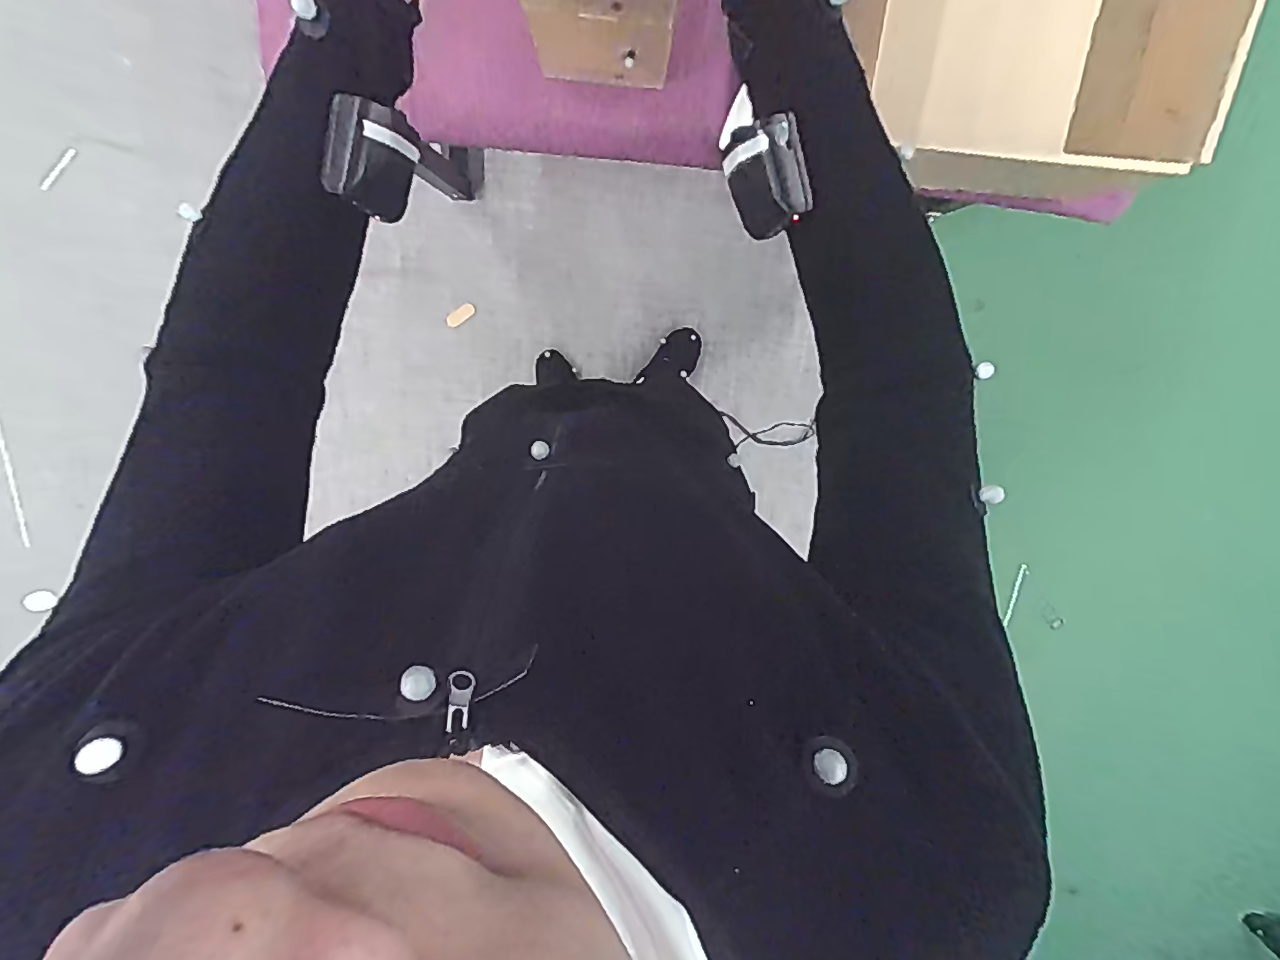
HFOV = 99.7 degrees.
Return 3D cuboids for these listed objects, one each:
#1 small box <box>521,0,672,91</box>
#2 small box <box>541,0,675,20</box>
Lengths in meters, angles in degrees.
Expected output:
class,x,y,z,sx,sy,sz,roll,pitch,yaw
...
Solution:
class,x,y,z,sx,sy,sz,roll,pitch,yaw
small box,-0.041,-0.599,0.642,0.168,0.176,0.179,5,104,-3
small box,-0.037,-0.559,0.483,0.168,0.176,0.179,4,106,-3
